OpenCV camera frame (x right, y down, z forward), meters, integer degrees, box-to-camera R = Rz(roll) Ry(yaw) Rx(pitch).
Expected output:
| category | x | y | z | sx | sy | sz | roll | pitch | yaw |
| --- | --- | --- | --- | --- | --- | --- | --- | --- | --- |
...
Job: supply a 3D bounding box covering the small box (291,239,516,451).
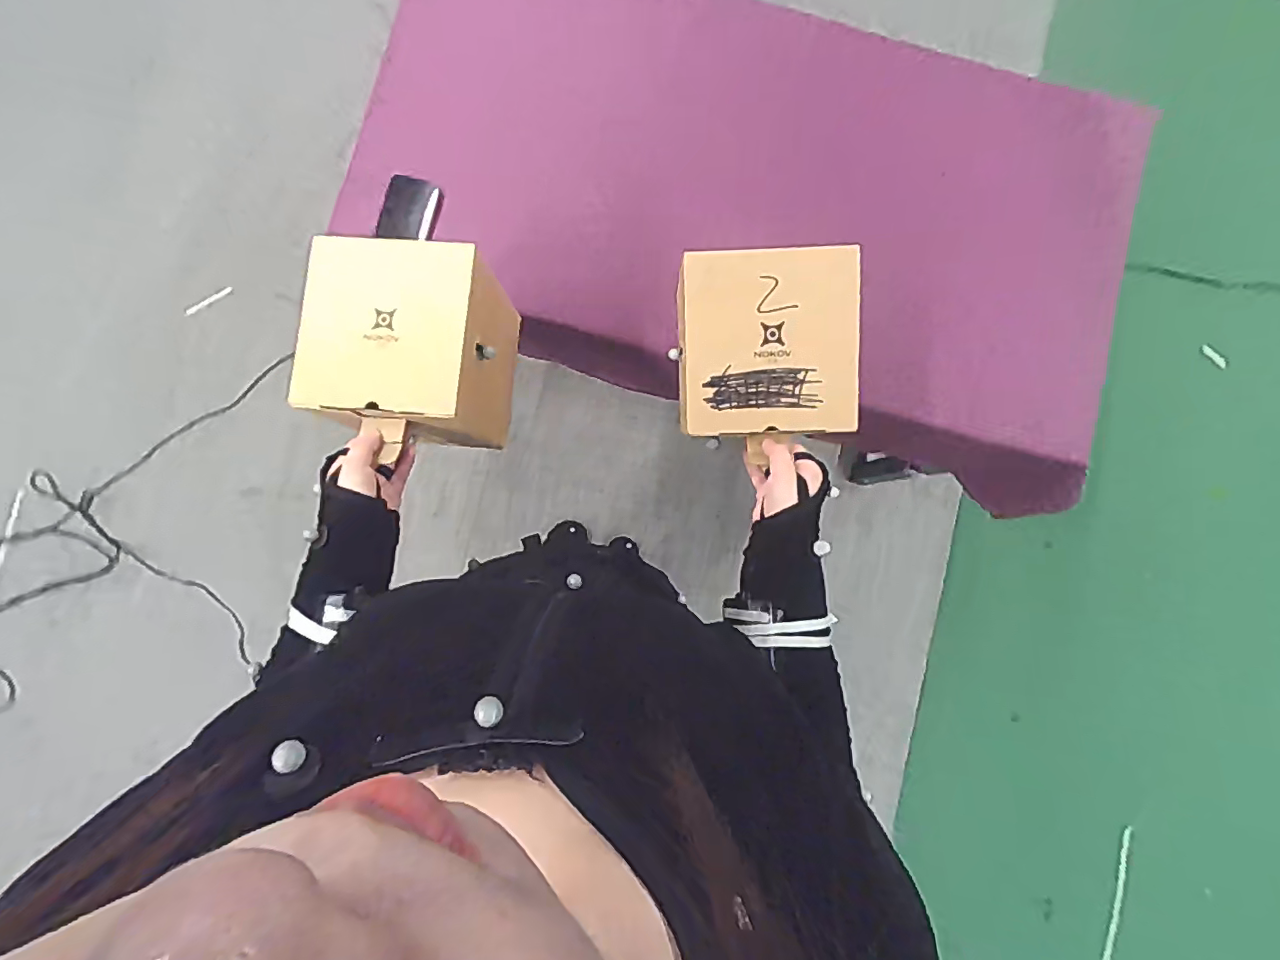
| category | x | y | z | sx | sy | sz | roll | pitch | yaw |
| --- | --- | --- | --- | --- | --- | --- | --- | --- | --- |
| small box | -0.242 | -0.137 | 0.600 | 0.168 | 0.176 | 0.179 | 4 | 84 | 2 |
